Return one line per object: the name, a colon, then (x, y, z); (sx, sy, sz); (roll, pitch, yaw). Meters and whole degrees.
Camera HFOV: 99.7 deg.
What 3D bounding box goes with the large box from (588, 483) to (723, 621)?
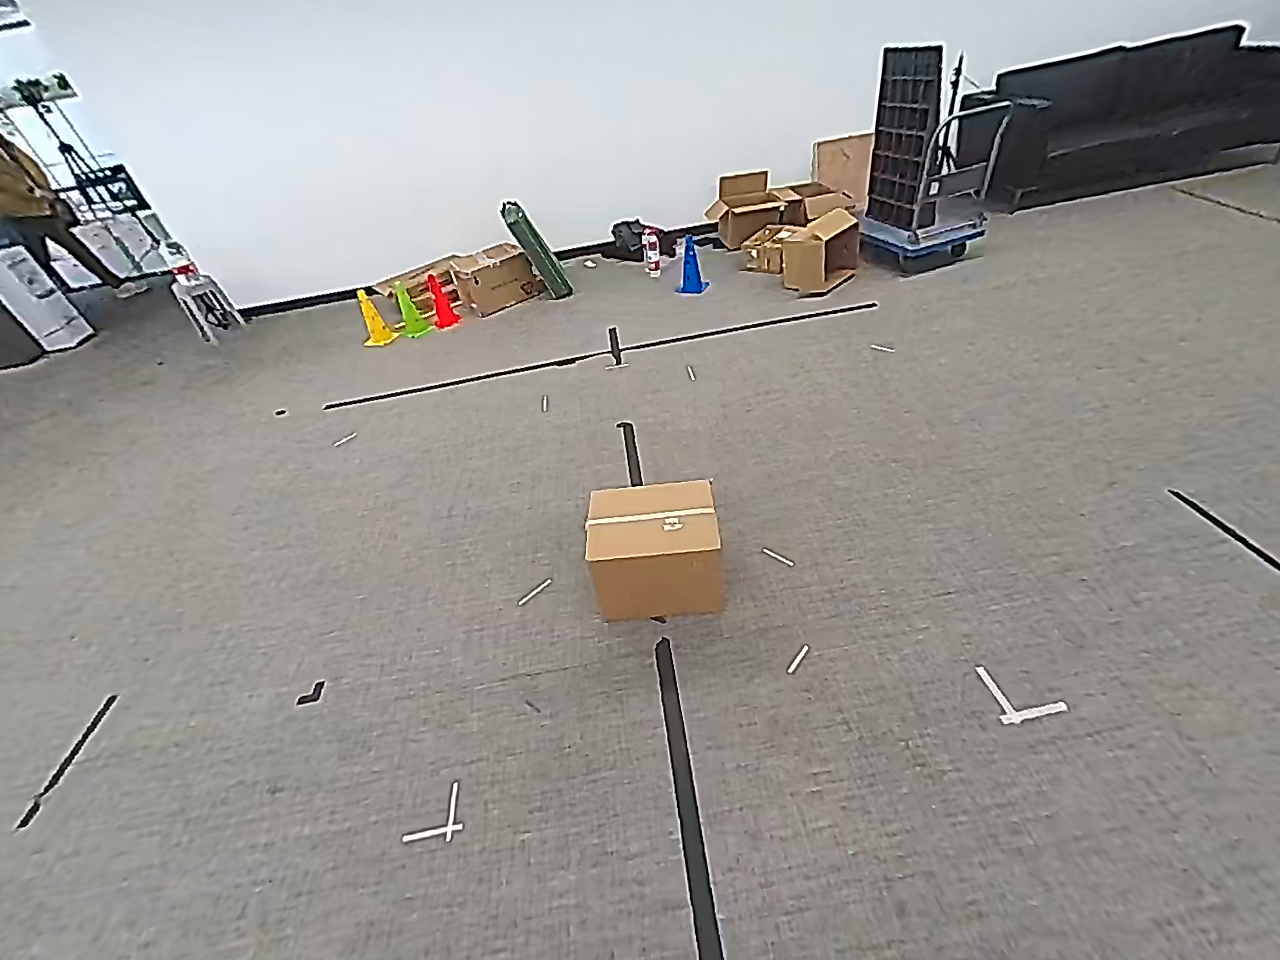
large box: (0.054, 0.238, 1.784); (0.408, 0.320, 0.320); (-5, 41, 4)
